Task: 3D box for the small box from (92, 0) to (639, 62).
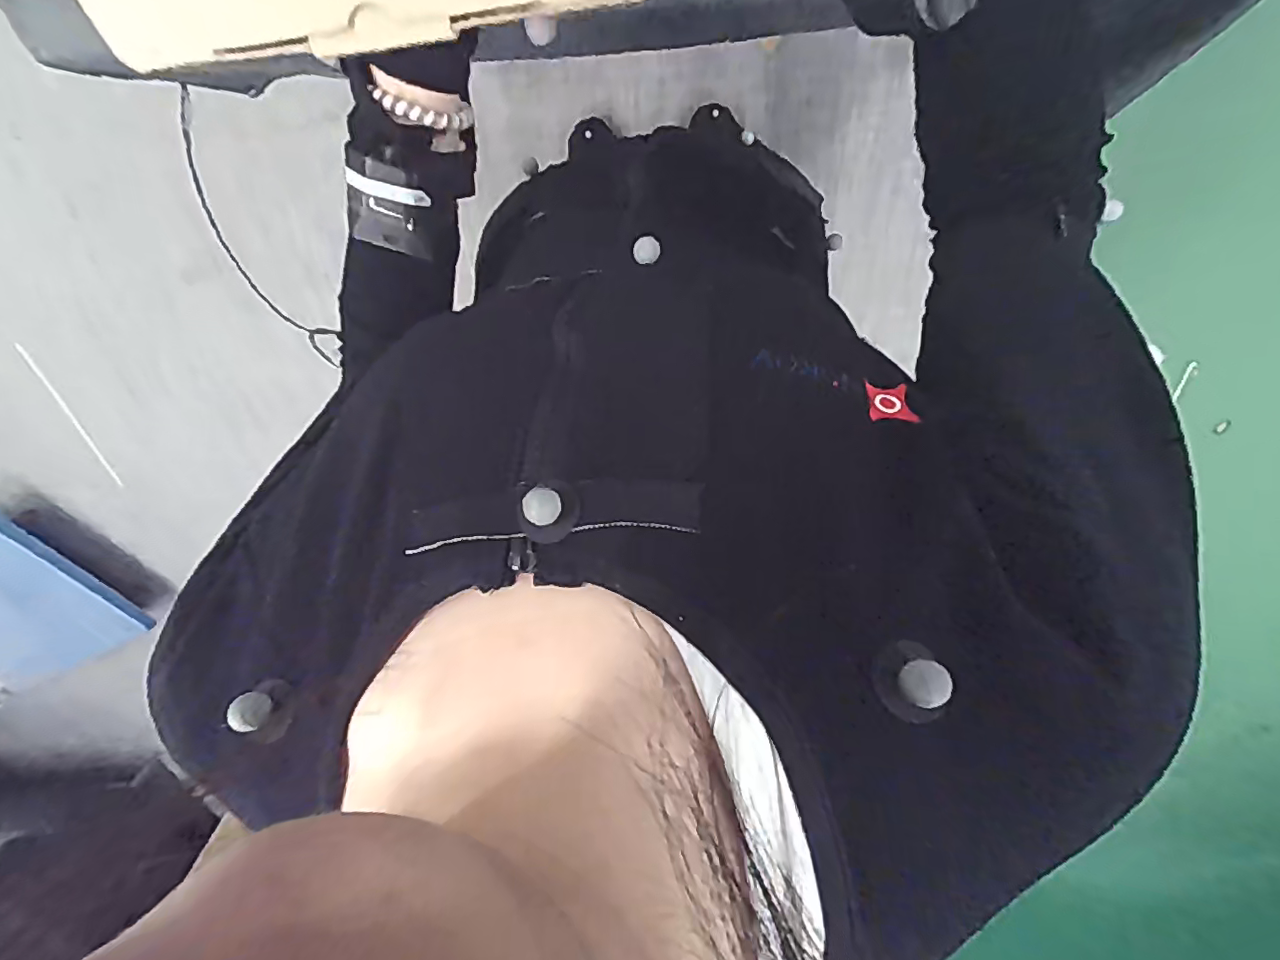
[{"bbox_3d":[-0.083,-0.250,0.151,0.168,0.176,0.179,-3,137,5],"label":"small box"}]
